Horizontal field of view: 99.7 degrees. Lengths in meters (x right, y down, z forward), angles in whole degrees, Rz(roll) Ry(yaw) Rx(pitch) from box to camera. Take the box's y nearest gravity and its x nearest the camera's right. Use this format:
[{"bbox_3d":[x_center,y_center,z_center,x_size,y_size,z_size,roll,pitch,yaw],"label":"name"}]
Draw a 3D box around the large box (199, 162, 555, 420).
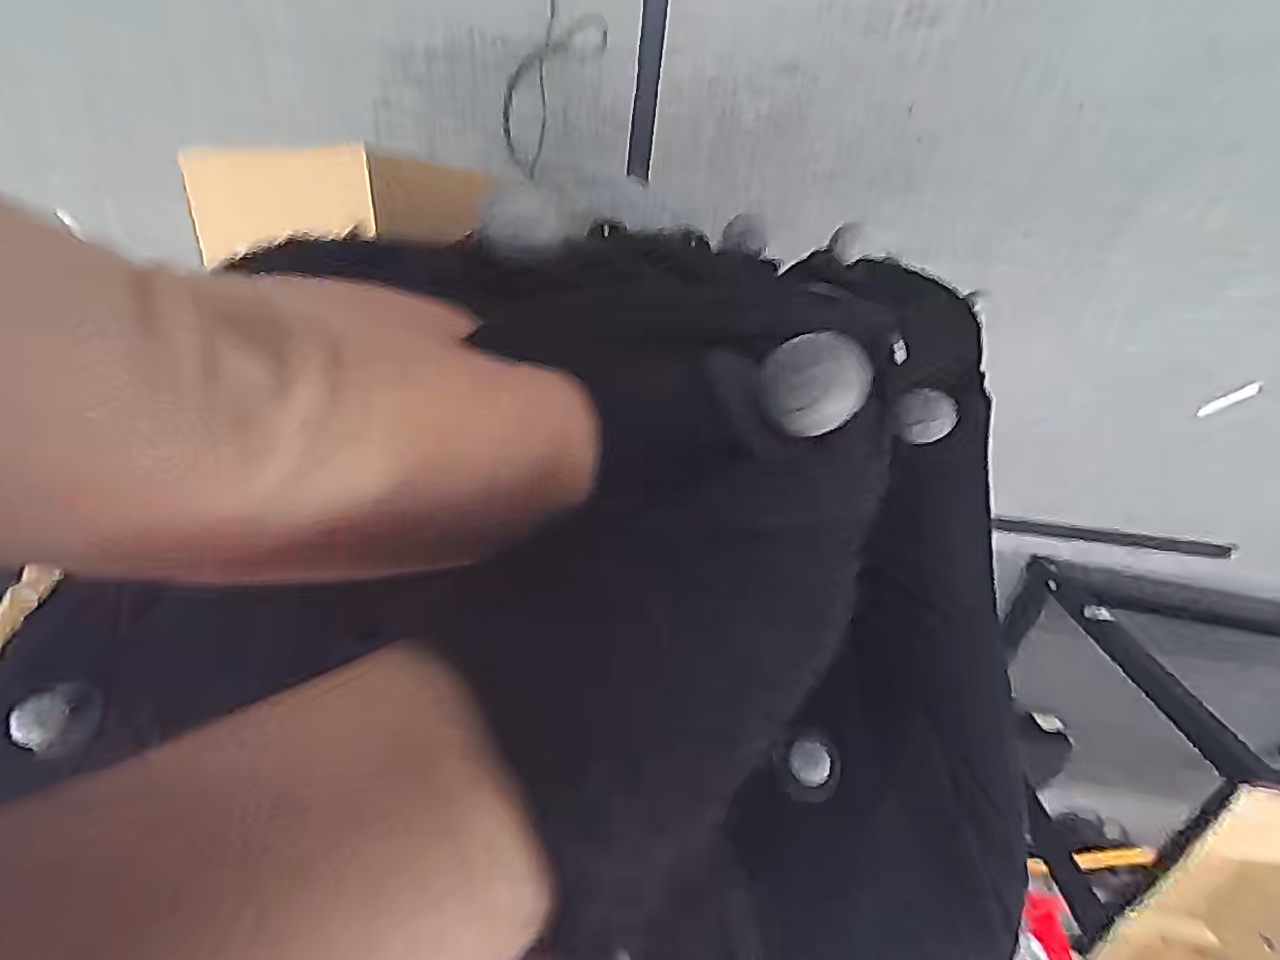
[{"bbox_3d":[-0.372,-0.317,0.878,0.320,0.408,0.320,12,115,17],"label":"large box"}]
